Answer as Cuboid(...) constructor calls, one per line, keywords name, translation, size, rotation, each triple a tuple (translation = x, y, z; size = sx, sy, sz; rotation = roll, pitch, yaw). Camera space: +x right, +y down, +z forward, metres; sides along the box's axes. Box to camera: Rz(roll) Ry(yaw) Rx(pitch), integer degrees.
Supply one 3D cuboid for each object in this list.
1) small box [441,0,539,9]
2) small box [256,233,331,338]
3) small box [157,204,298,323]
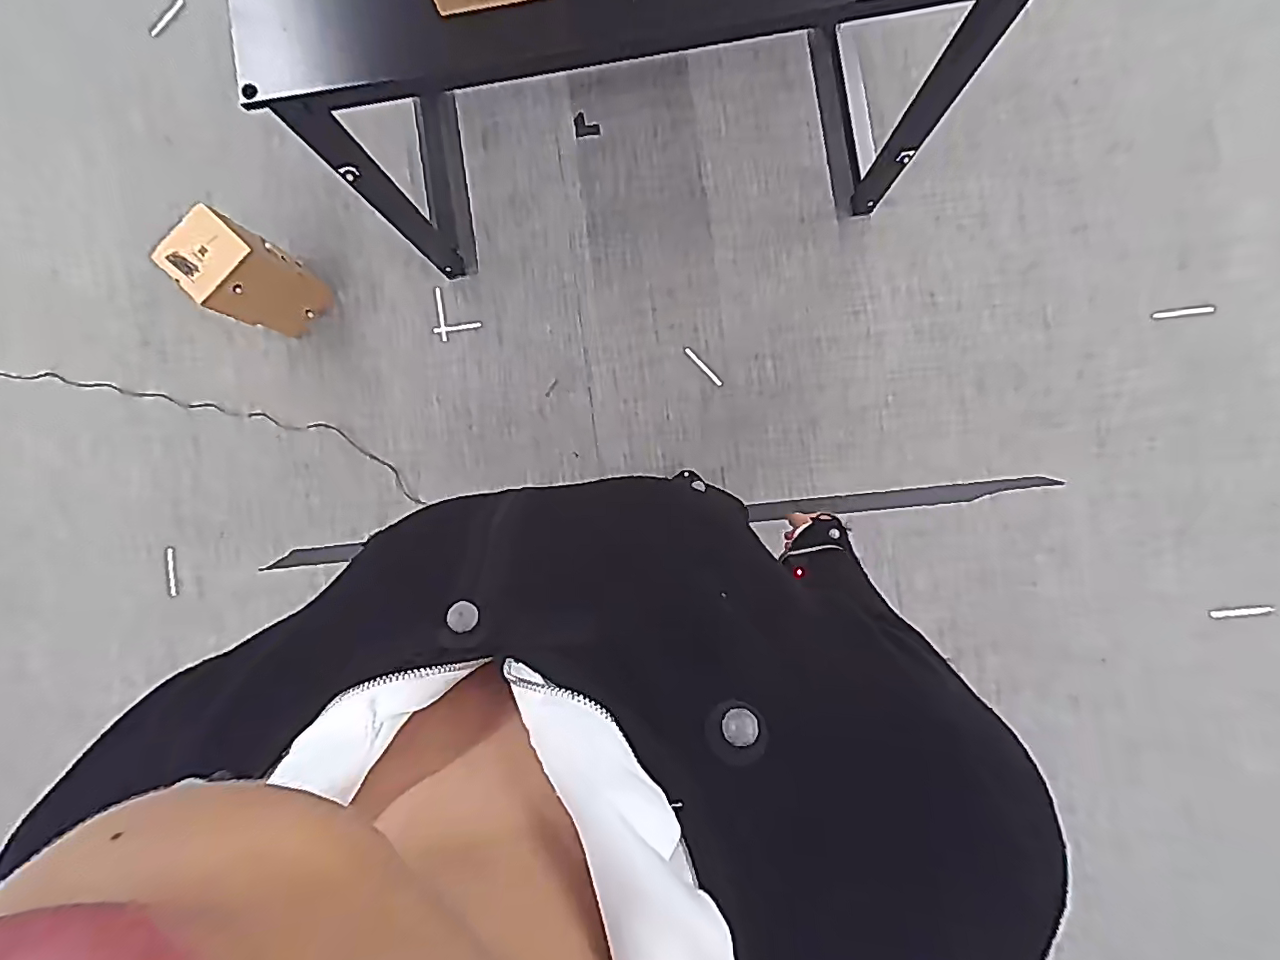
Cuboid(name="small box", translation=(-0.223, -0.772, 0.712), size=(0.168, 0.176, 0.179), rotation=(-8, 88, 2))
Cuboid(name="small box", translation=(-0.984, -0.521, 1.473), size=(0.168, 0.176, 0.179), rotation=(42, 91, 2))
Cuboid(name="small box", translation=(-0.984, -0.511, 1.307), size=(0.168, 0.176, 0.179), rotation=(43, 91, 2))
